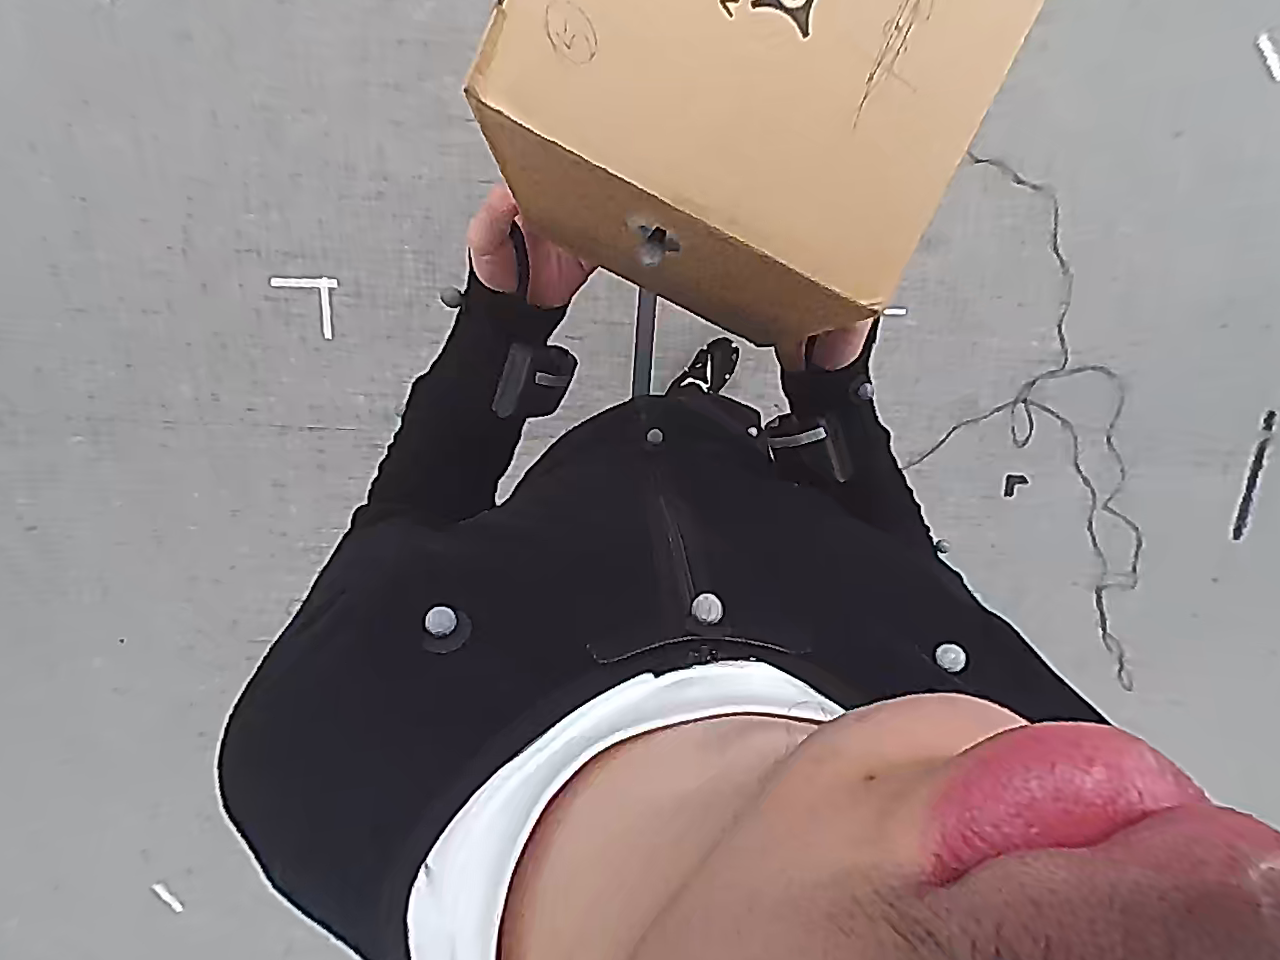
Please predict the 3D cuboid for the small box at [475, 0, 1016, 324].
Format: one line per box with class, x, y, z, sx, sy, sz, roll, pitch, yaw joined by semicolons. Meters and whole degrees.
small box;0.044;-0.195;0.279;0.179;0.176;0.168;24;97;-8
